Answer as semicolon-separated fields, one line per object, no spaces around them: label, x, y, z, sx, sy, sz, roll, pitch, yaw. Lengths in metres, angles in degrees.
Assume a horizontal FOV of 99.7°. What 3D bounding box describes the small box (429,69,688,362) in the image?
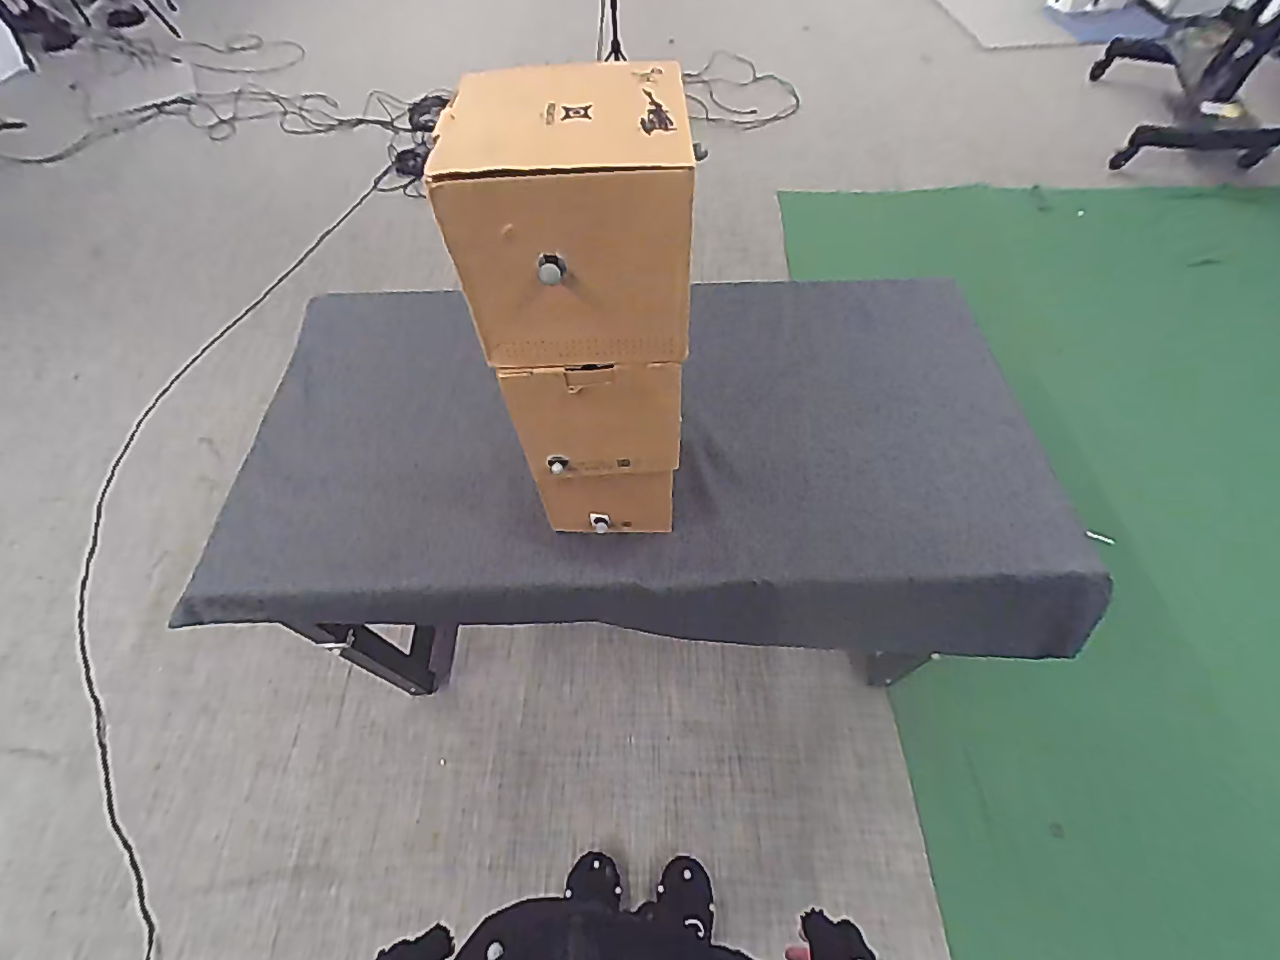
small box;-0.054;-0.218;0.465;0.179;0.176;0.168;-5;55;-1

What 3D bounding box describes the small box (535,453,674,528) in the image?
small box;-0.039;-0.049;0.742;0.168;0.176;0.179;-2;58;3

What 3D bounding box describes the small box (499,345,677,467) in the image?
small box;-0.050;-0.127;0.598;0.168;0.176;0.179;-7;58;-1
